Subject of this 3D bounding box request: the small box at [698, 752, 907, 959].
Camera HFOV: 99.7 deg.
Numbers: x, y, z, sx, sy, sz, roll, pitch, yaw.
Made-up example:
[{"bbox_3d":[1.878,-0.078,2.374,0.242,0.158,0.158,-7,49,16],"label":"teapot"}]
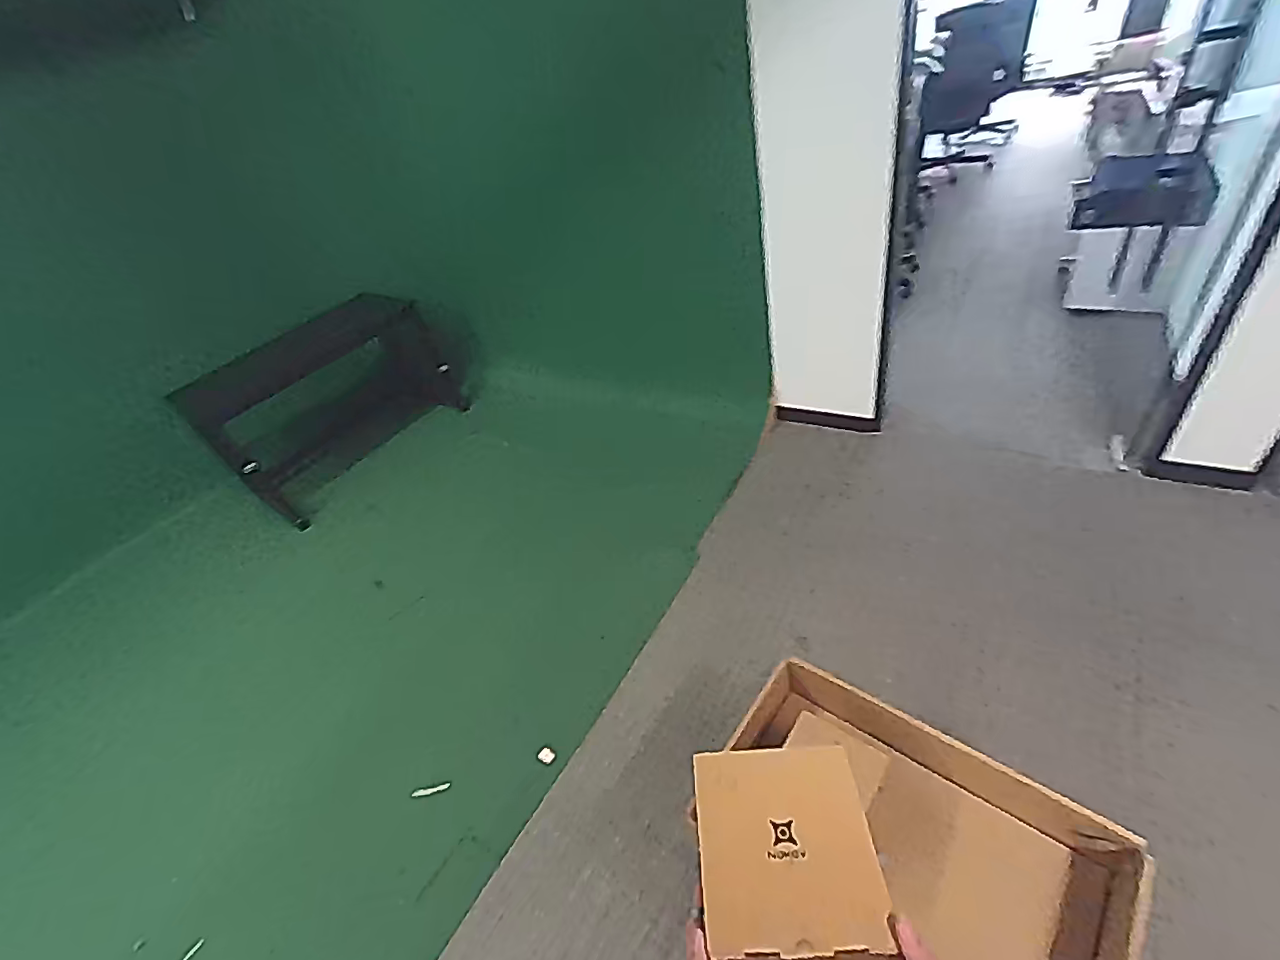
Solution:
[{"bbox_3d":[0.148,0.415,0.568,0.168,0.176,0.179,-5,39,3],"label":"small box"}]
